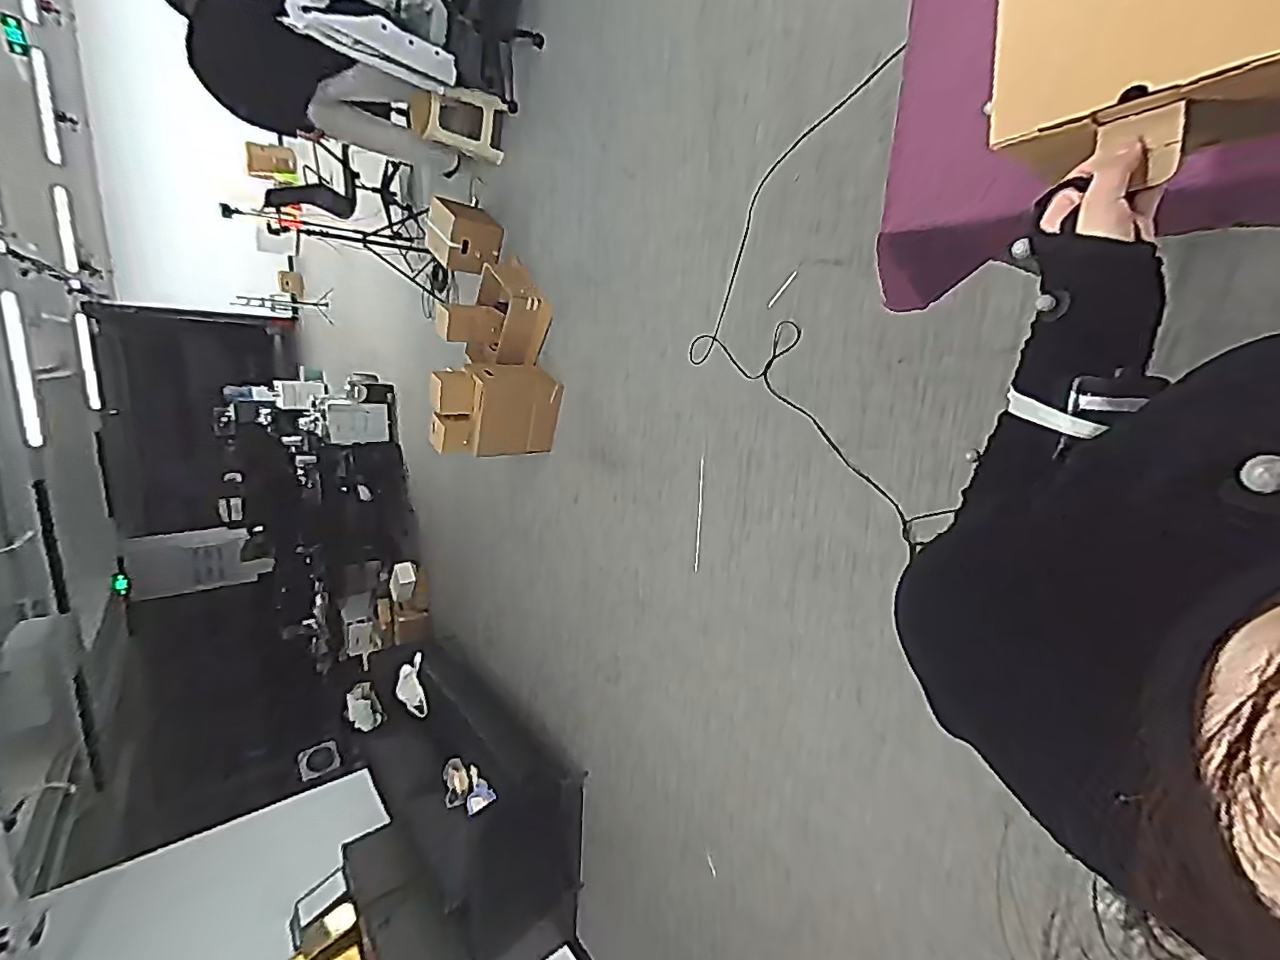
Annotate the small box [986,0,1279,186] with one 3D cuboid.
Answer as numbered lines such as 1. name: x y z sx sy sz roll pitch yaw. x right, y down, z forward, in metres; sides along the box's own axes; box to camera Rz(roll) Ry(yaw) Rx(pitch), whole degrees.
1. small box: 0.385 -0.348 0.405 0.168 0.176 0.179 9 107 49
